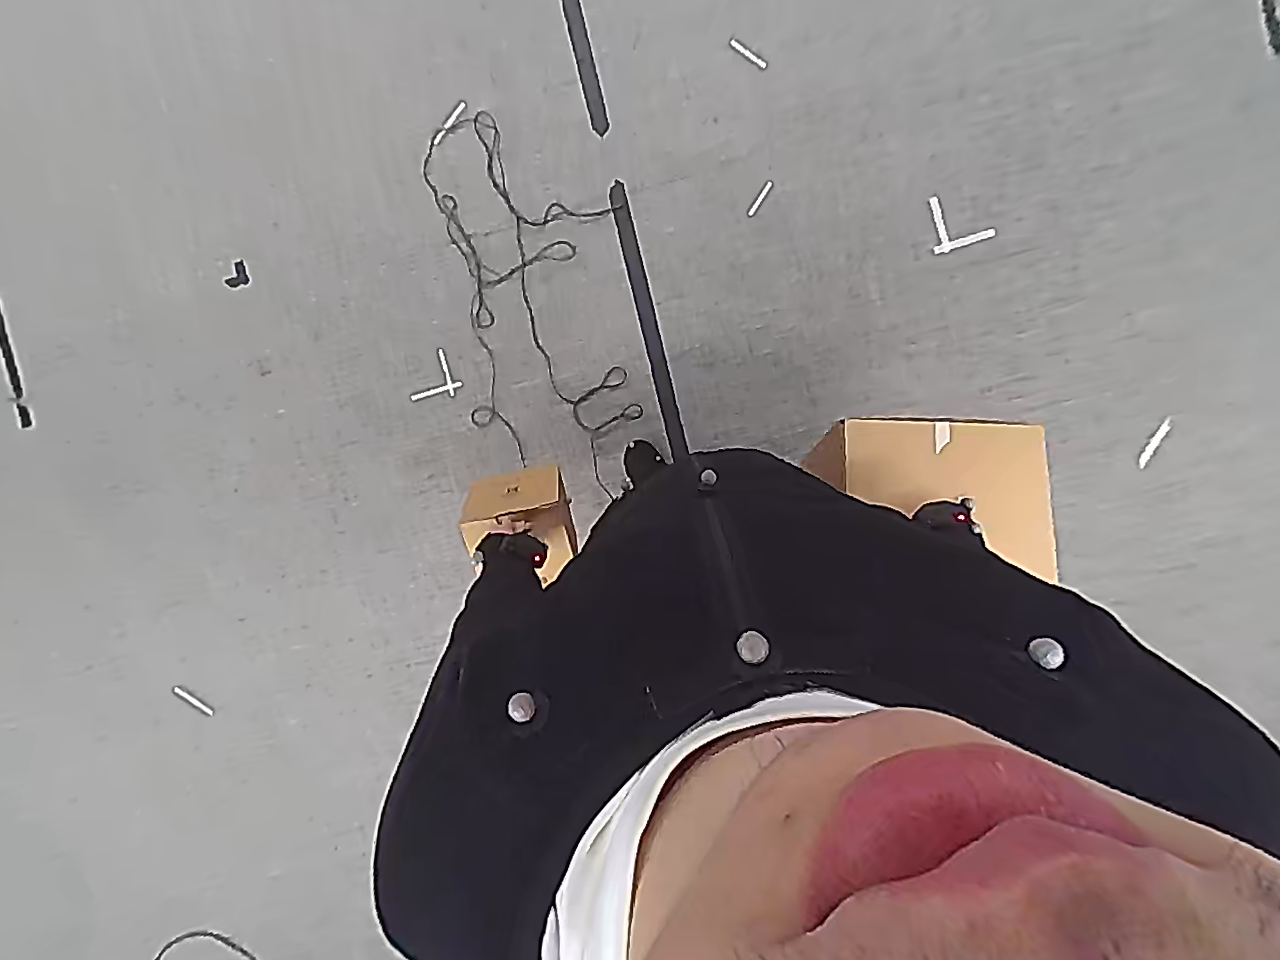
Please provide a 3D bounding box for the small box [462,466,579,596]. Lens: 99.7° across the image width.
[{"bbox_3d":[-0.209,0.096,0.992,0.168,0.179,0.176,-12,112,-4],"label":"small box"}]
